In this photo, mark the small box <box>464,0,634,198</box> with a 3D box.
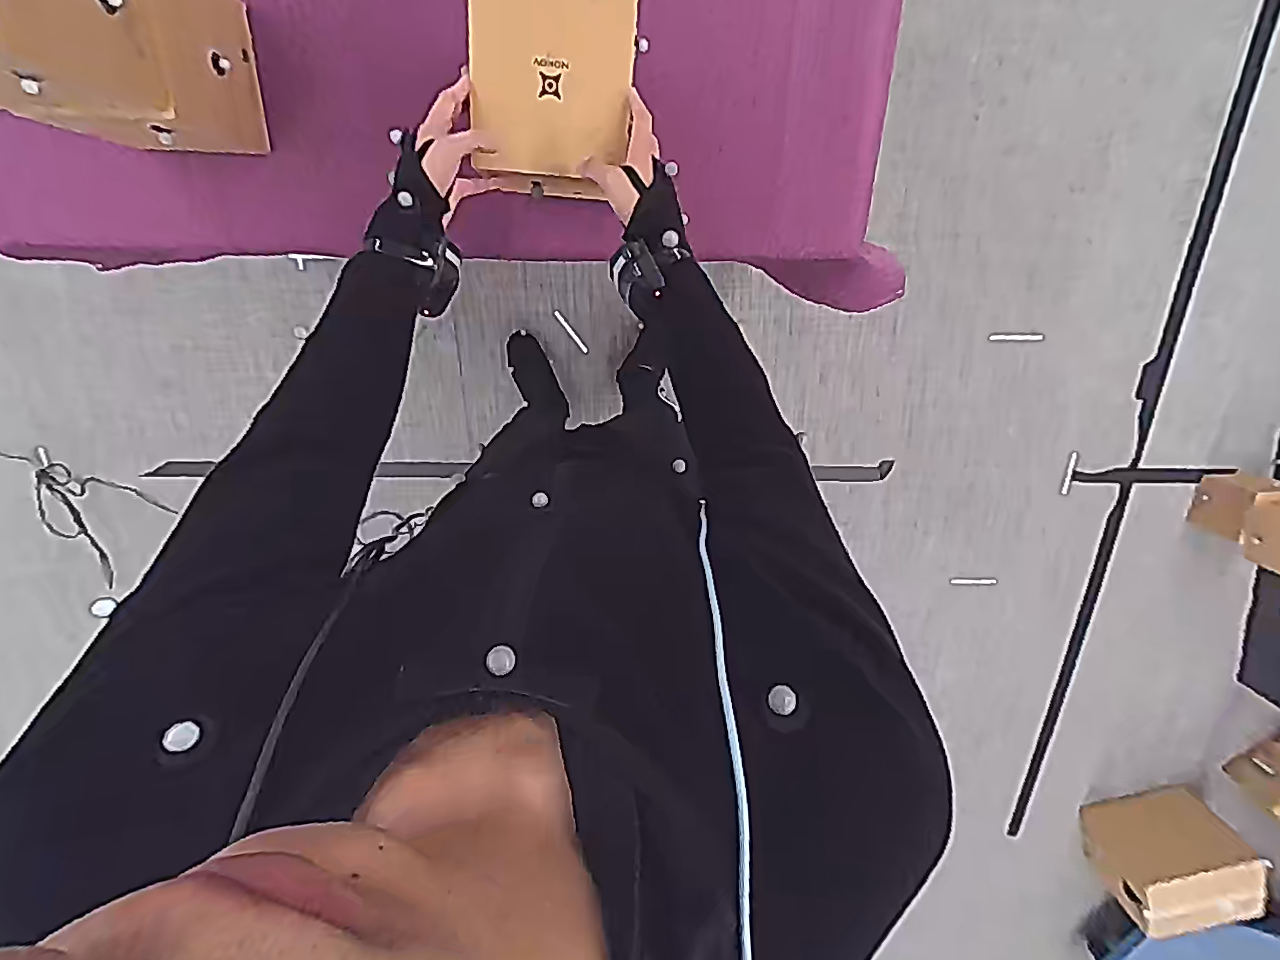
[{"bbox_3d":[-0.095,-0.433,0.619,0.168,0.176,0.179,3,110,-3],"label":"small box"}]

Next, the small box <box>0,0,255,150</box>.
[{"bbox_3d":[-0.574,-0.486,0.610,0.179,0.176,0.168,2,110,-2],"label":"small box"}]
